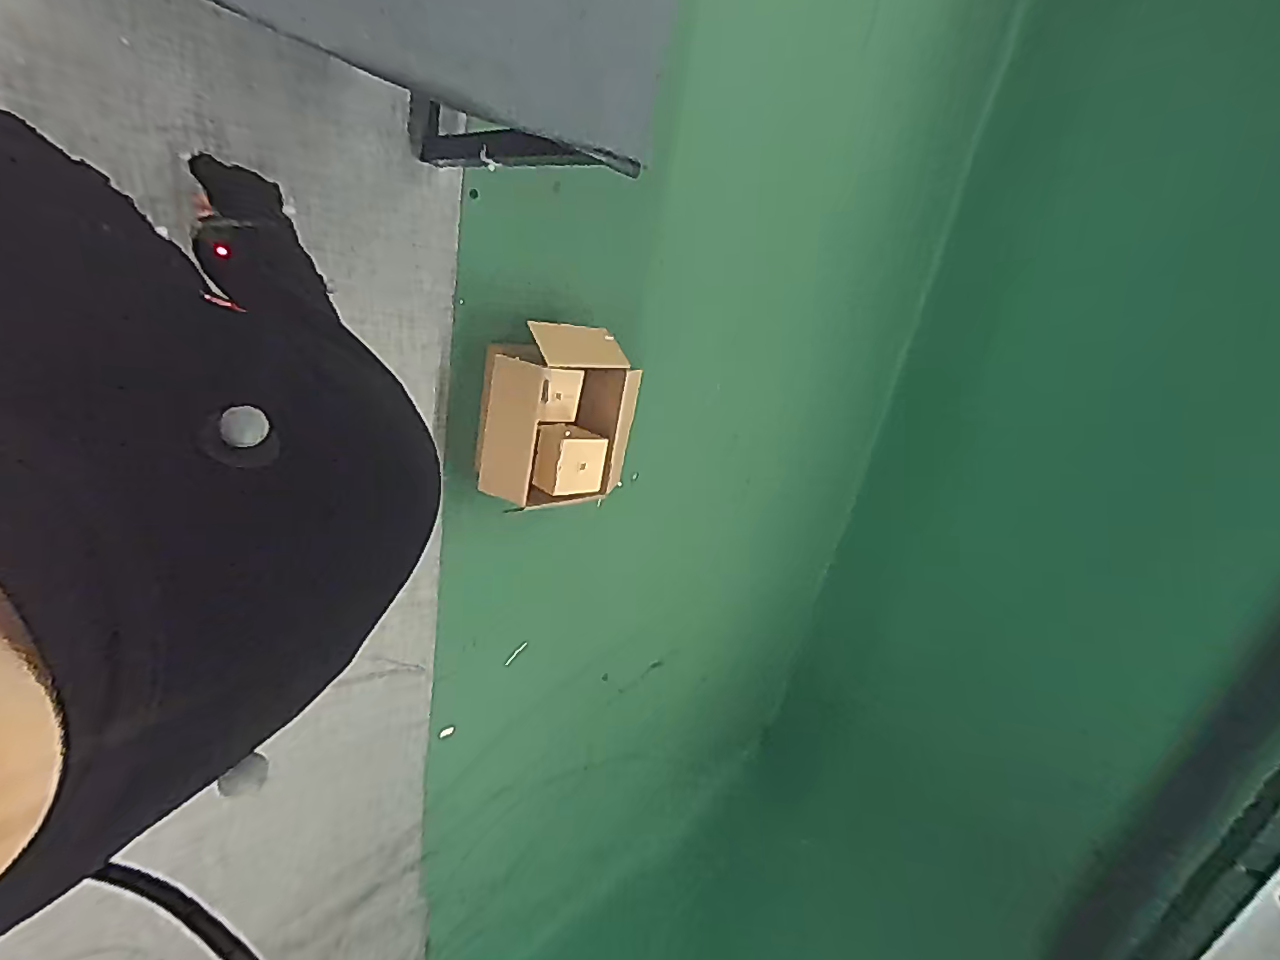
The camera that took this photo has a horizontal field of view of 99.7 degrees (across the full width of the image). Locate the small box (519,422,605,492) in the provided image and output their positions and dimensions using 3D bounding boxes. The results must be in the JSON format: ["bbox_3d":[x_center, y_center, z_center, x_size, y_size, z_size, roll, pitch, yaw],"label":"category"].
[{"bbox_3d":[-0.234,-0.074,1.609,0.179,0.176,0.168,-5,112,-47],"label":"small box"}]
